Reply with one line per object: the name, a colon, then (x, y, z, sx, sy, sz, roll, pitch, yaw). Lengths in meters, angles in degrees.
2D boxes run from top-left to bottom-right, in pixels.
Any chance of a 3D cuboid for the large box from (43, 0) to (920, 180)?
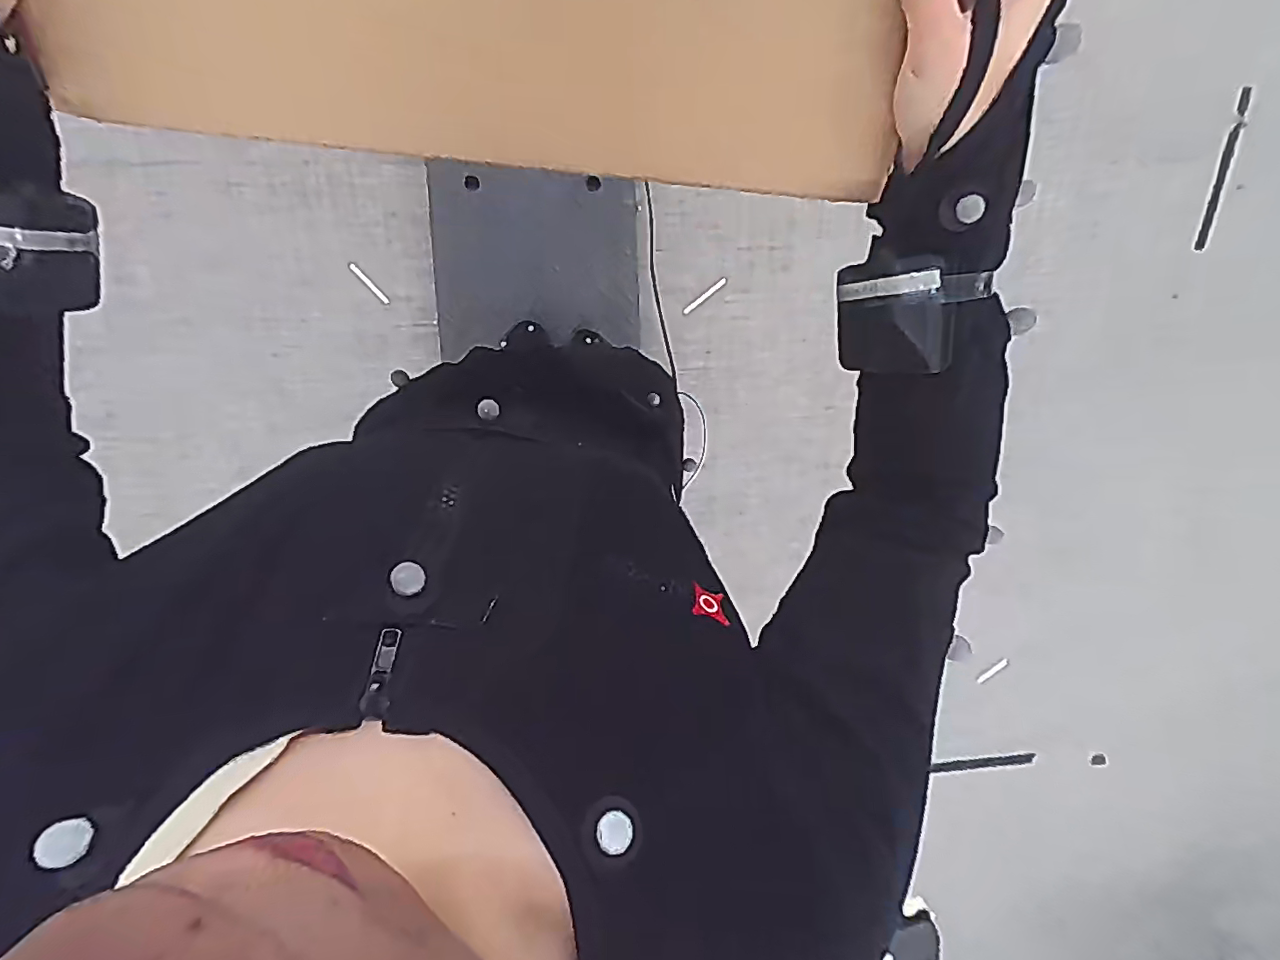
large box: (-0.067, -0.381, 0.320, 0.408, 0.320, 0.320, 2, 124, -7)
